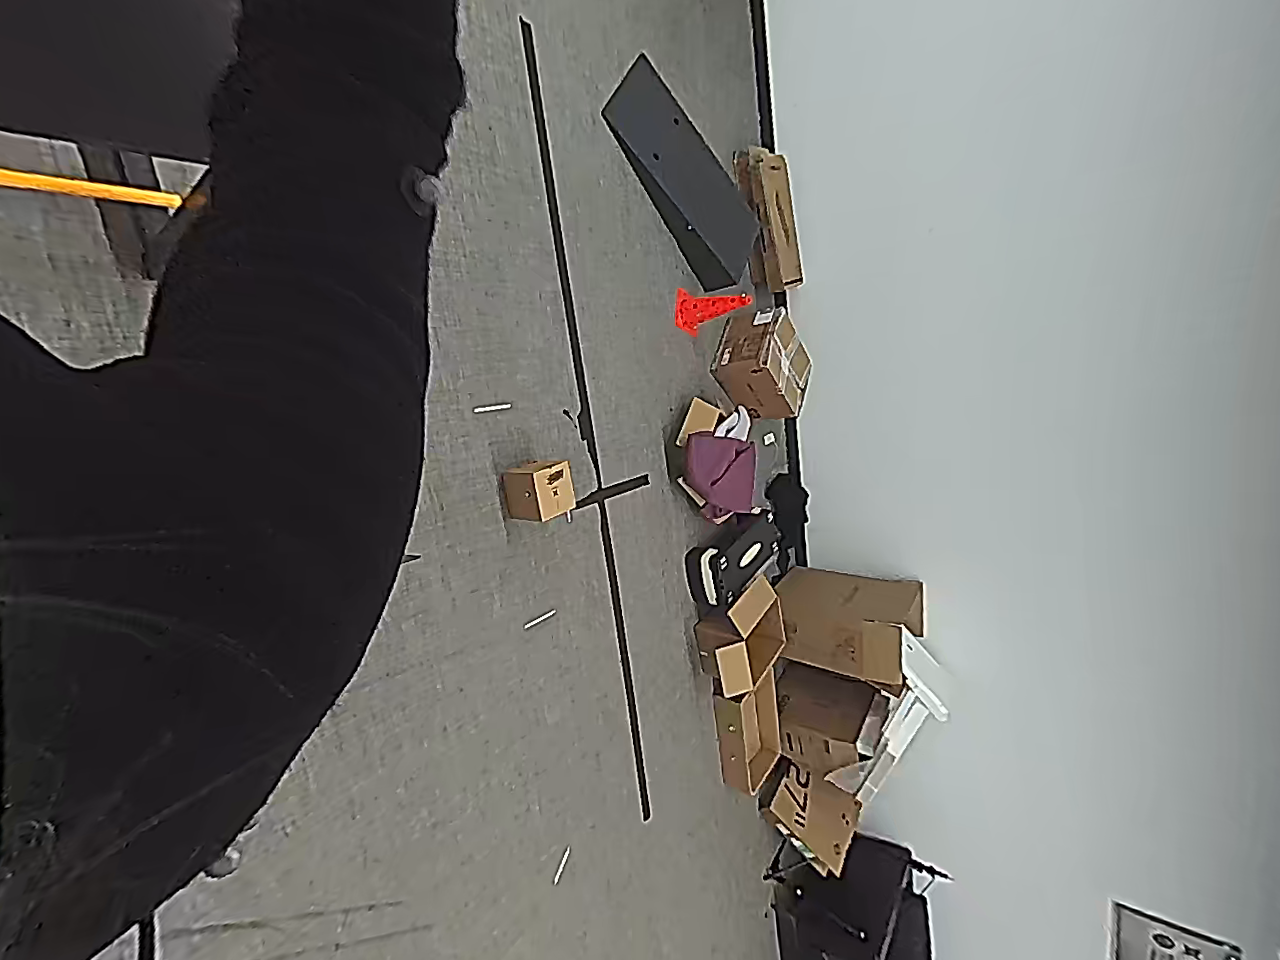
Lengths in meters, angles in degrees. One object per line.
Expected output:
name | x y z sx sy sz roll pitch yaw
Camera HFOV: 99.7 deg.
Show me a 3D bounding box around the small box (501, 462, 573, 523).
small box | -0.364 0.041 1.896 0.168 0.176 0.179 -24 110 -48
